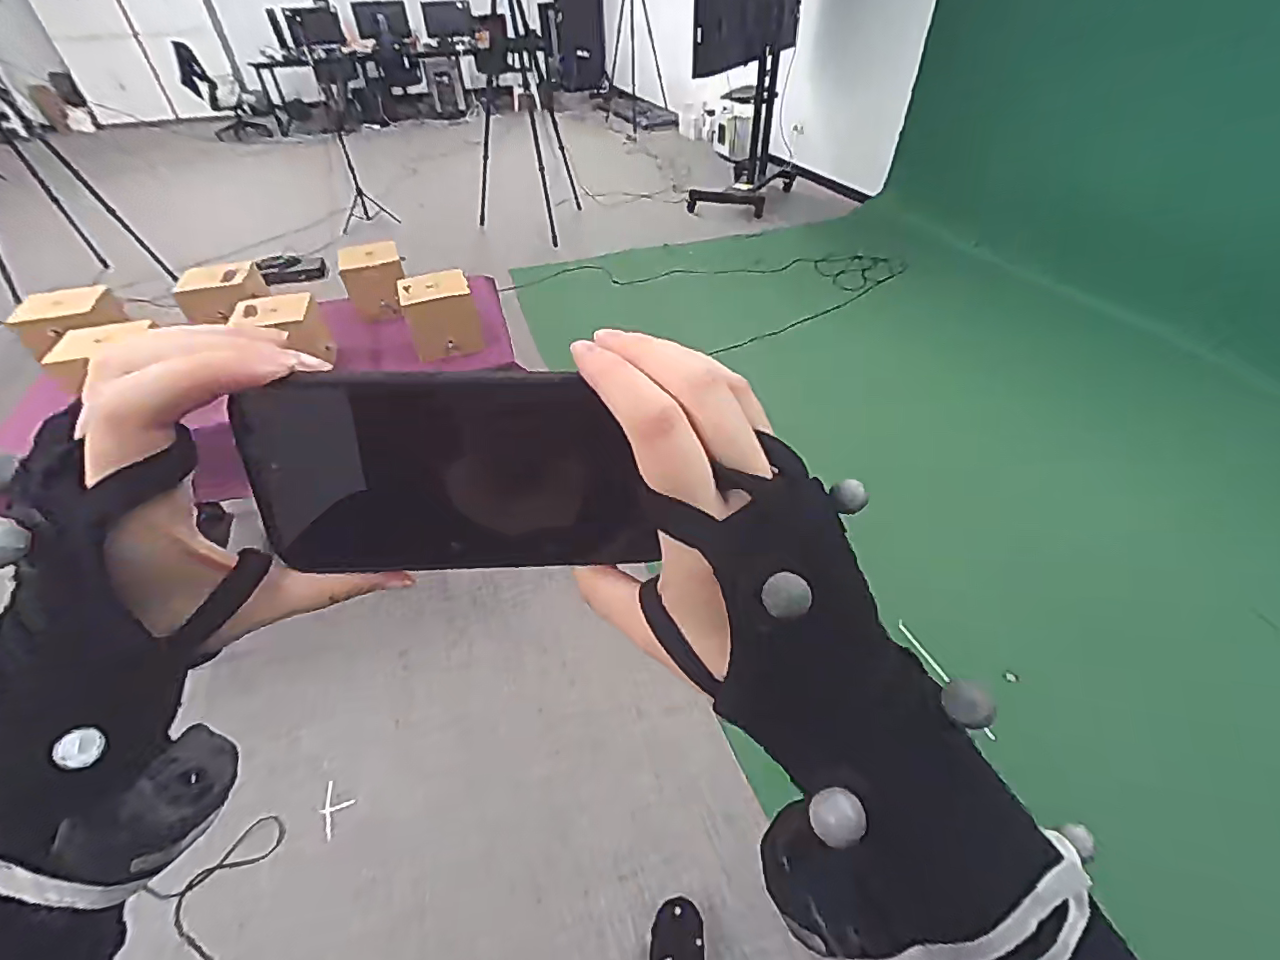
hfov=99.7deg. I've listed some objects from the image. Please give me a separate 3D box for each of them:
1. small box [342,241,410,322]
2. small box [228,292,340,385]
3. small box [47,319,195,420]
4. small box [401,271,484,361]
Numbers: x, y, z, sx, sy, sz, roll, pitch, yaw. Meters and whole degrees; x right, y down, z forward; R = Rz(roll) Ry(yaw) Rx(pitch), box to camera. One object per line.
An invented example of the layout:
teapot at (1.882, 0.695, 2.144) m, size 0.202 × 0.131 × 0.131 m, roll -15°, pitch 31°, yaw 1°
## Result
small box at (-0.788, -0.602, 1.642) m, size 0.168 × 0.176 × 0.179 m, roll -17°, pitch 46°, yaw -15°
small box at (-0.906, -0.361, 1.394) m, size 0.179 × 0.176 × 0.168 m, roll -12°, pitch 45°, yaw -12°
small box at (-1.232, -0.263, 1.301) m, size 0.179 × 0.176 × 0.168 m, roll -13°, pitch 45°, yaw -13°
small box at (-0.532, -0.445, 1.471) m, size 0.179 × 0.176 × 0.168 m, roll -15°, pitch 45°, yaw -14°
